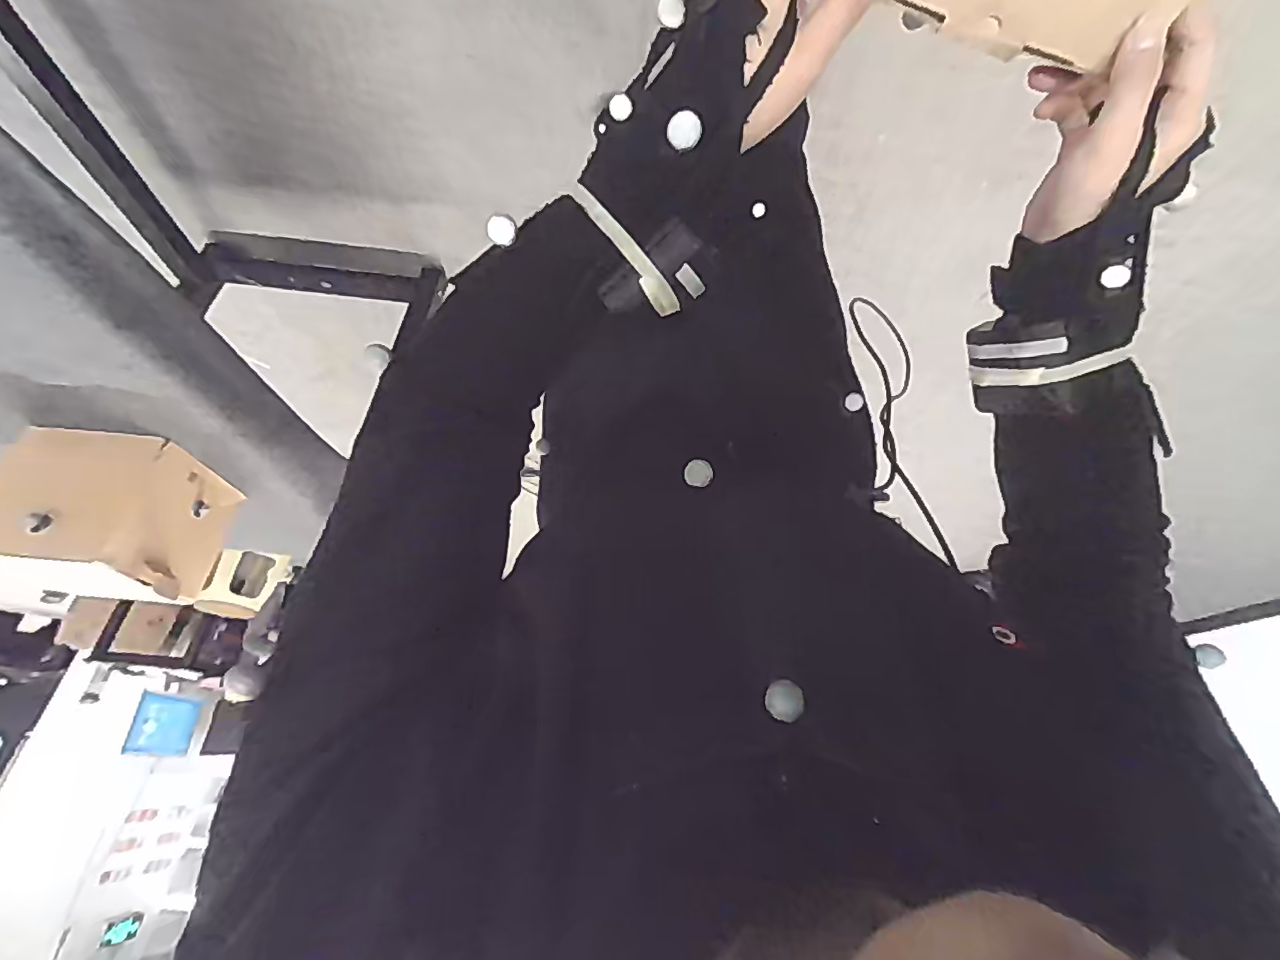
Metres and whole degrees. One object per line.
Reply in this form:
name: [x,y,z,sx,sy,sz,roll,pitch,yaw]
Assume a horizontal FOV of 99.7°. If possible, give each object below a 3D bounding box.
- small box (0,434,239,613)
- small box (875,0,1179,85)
small box: [-0.671,0.057,0.687,0.179,0.176,0.168,4,151,1]
small box: [0.189,-0.333,0.247,0.168,0.176,0.179,10,142,-10]
